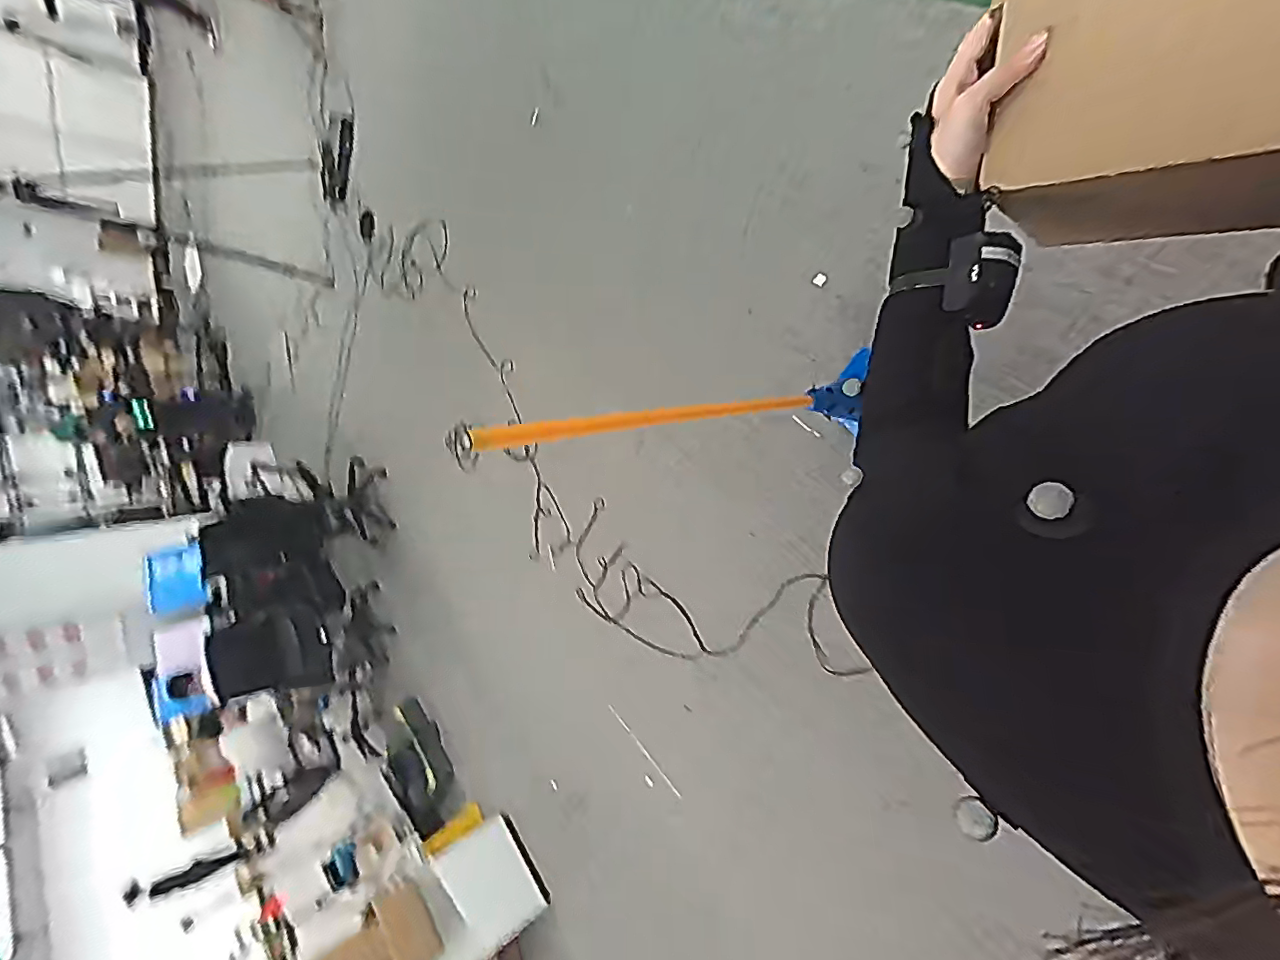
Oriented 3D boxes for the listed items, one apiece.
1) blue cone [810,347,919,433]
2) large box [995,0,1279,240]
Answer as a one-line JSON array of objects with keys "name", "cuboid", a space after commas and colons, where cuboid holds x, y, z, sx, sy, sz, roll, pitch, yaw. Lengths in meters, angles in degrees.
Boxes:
[{"name": "blue cone", "cuboid": [0.512, -0.222, 1.340, 0.193, 0.380, 0.192, 51, 127, 23]}, {"name": "large box", "cuboid": [0.519, -0.380, 0.373, 0.408, 0.320, 0.320, 11, 108, 40]}]
